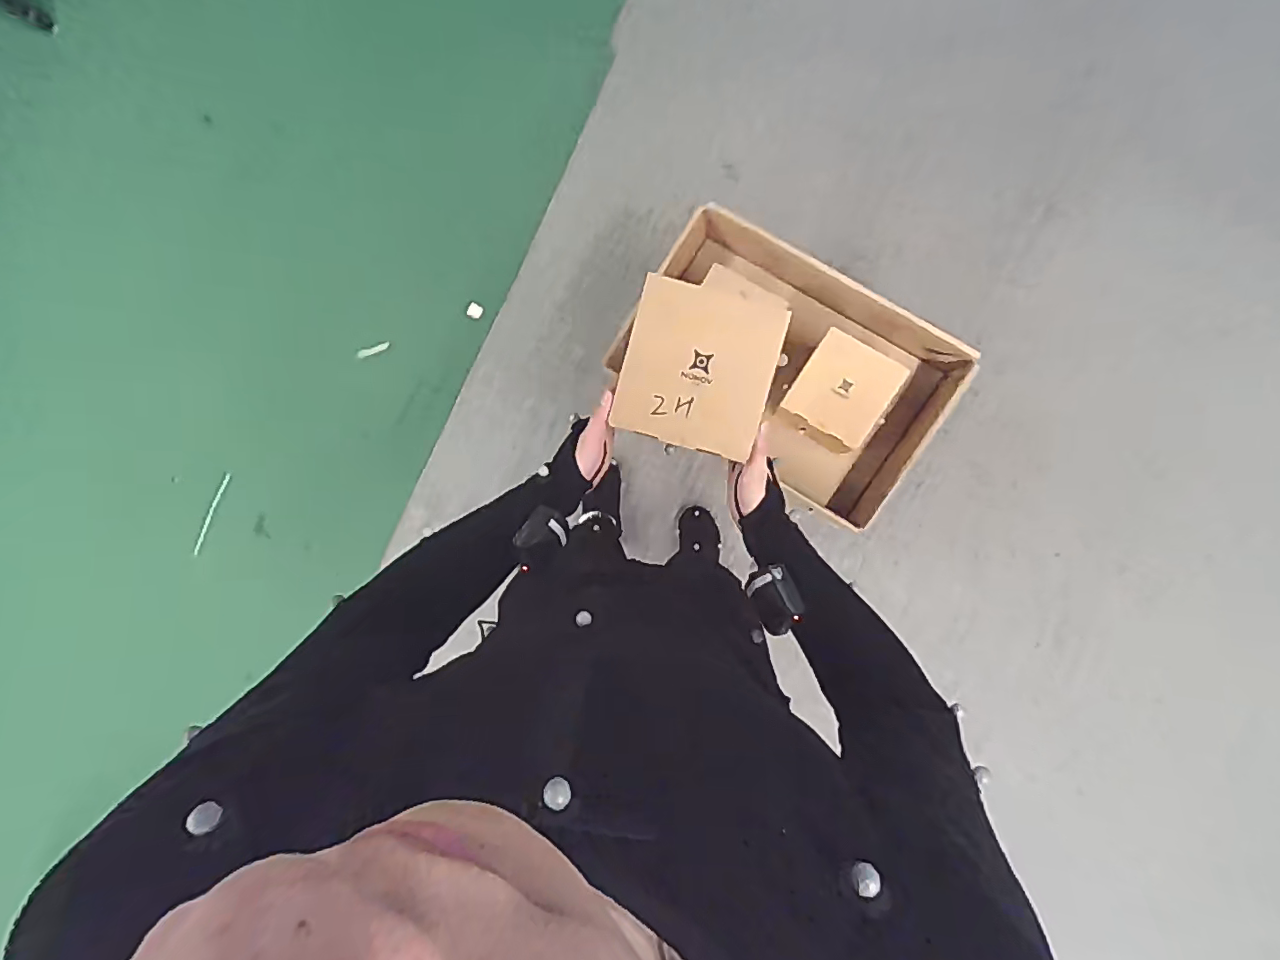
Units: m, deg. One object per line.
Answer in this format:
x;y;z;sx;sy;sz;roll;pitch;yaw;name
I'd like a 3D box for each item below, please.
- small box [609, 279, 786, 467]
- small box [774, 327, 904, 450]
0.063;-0.126;0.685;0.168;0.176;0.179;15;96;-1;small box
0.386;-0.174;1.089;0.168;0.176;0.179;33;96;6;small box
